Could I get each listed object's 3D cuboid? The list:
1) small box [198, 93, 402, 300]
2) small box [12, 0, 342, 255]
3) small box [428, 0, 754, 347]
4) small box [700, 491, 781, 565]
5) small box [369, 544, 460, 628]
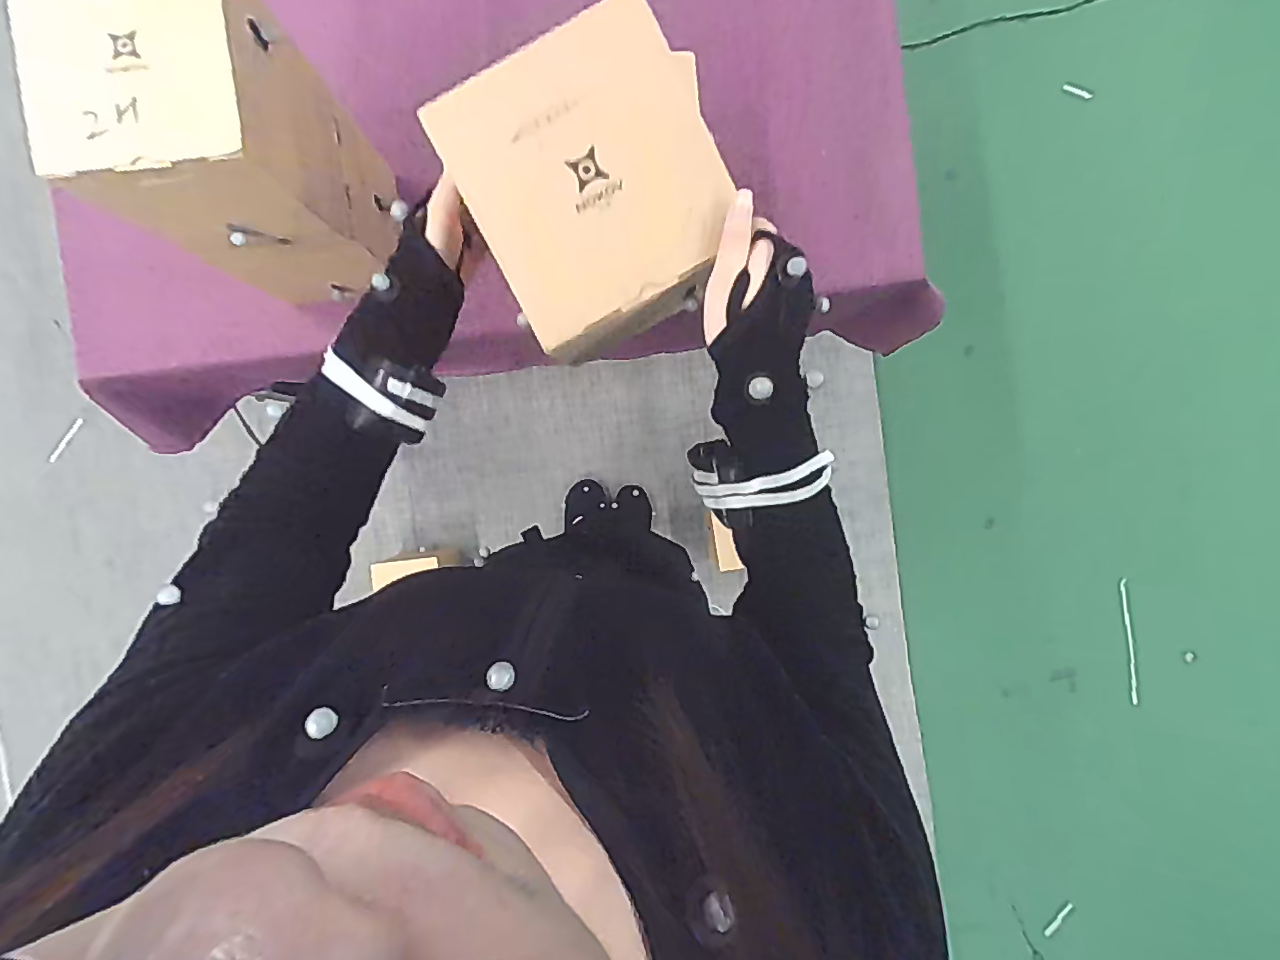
[{"bbox_3d":[-0.416,-0.338,0.676,0.179,0.176,0.168,-9,92,-3],"label":"small box"},{"bbox_3d":[-0.410,-0.337,0.509,0.168,0.176,0.179,-7,91,-2],"label":"small box"},{"bbox_3d":[-0.030,-0.220,0.439,0.168,0.176,0.179,-27,98,3],"label":"small box"},{"bbox_3d":[0.262,0.124,1.454,0.179,0.176,0.168,-9,93,-3],"label":"small box"},{"bbox_3d":[-0.583,0.271,1.419,0.168,0.176,0.179,-6,91,-2],"label":"small box"}]
